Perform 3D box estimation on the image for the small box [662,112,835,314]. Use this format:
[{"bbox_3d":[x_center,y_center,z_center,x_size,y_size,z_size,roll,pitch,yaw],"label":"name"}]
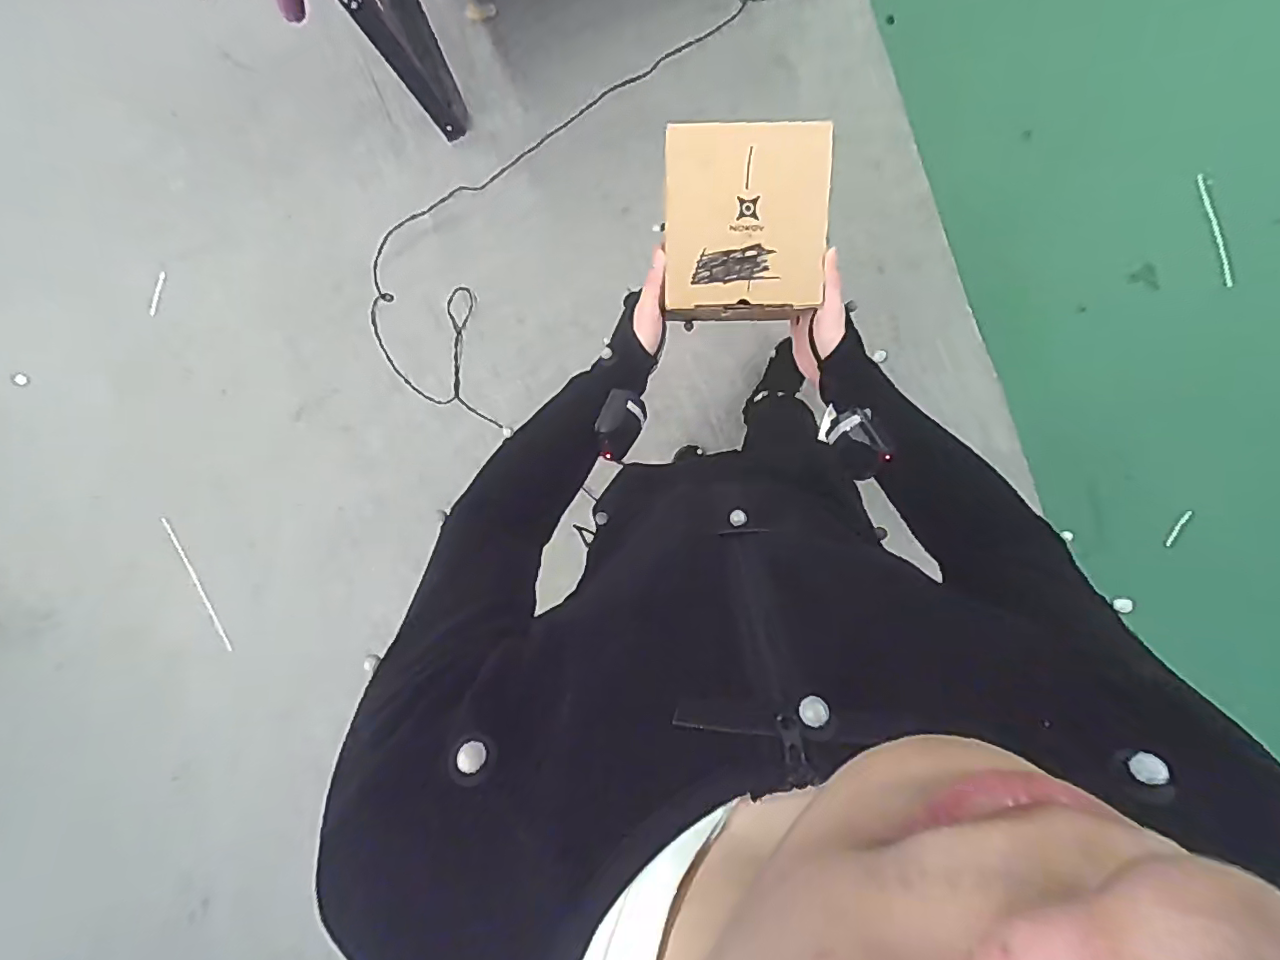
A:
[{"bbox_3d":[0.110,-0.286,0.618,0.168,0.176,0.179,-1,101,1],"label":"small box"}]
